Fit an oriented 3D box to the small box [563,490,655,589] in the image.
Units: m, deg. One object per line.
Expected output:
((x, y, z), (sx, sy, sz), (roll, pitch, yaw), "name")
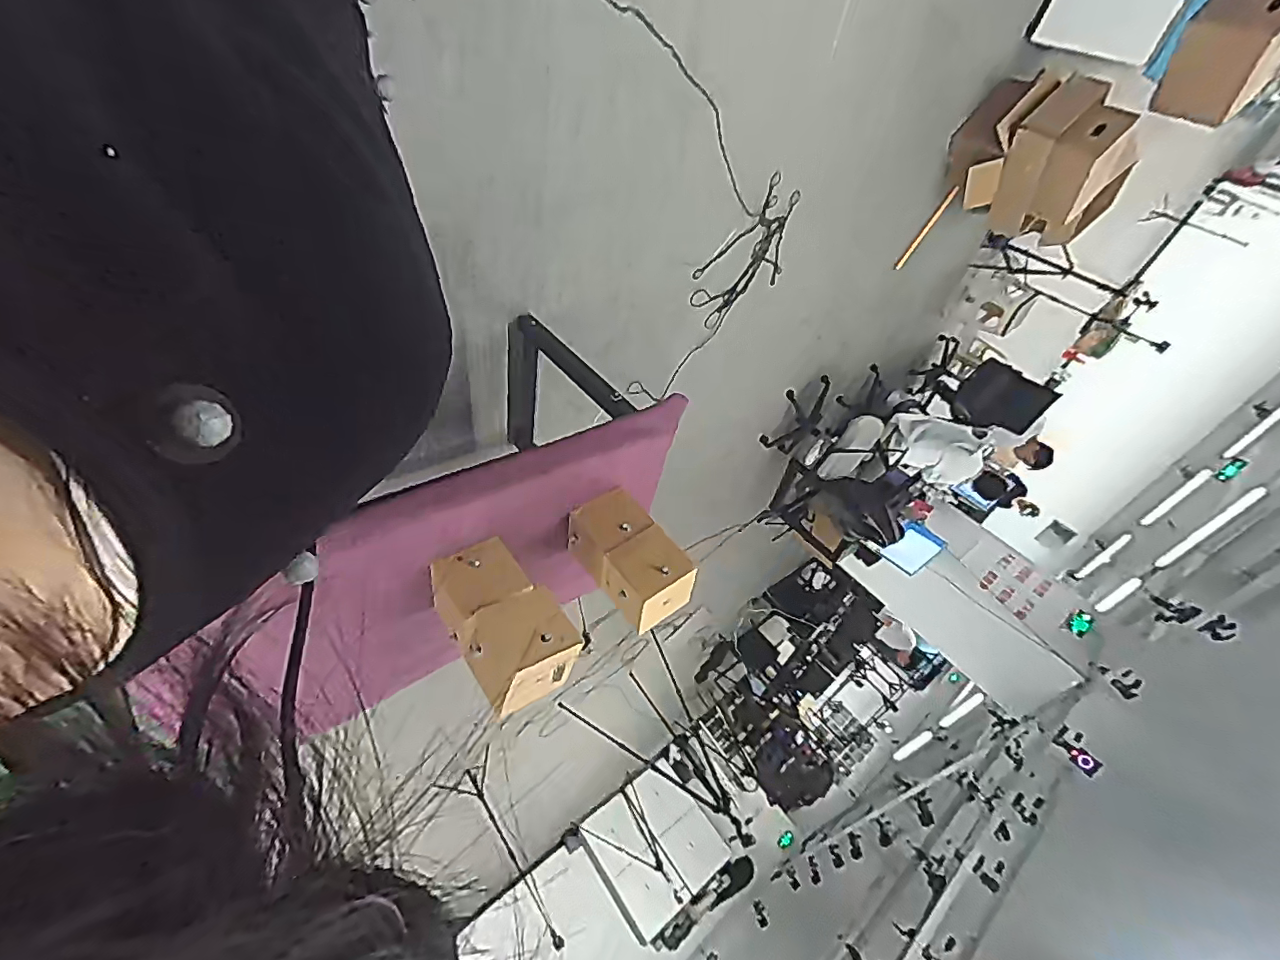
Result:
((-0.087, 0.154, 1.462), (0.179, 0.176, 0.168), (-26, 145, -29), "small box")

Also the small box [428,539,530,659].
((-0.373, 0.269, 1.244), (0.168, 0.176, 0.179), (-22, 144, -35), "small box")

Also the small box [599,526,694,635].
((0.009, 0.252, 1.377), (0.179, 0.176, 0.168), (-28, 146, -28), "small box")

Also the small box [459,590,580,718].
((-0.263, 0.366, 1.169), (0.179, 0.176, 0.168), (-13, 138, -43), "small box")
